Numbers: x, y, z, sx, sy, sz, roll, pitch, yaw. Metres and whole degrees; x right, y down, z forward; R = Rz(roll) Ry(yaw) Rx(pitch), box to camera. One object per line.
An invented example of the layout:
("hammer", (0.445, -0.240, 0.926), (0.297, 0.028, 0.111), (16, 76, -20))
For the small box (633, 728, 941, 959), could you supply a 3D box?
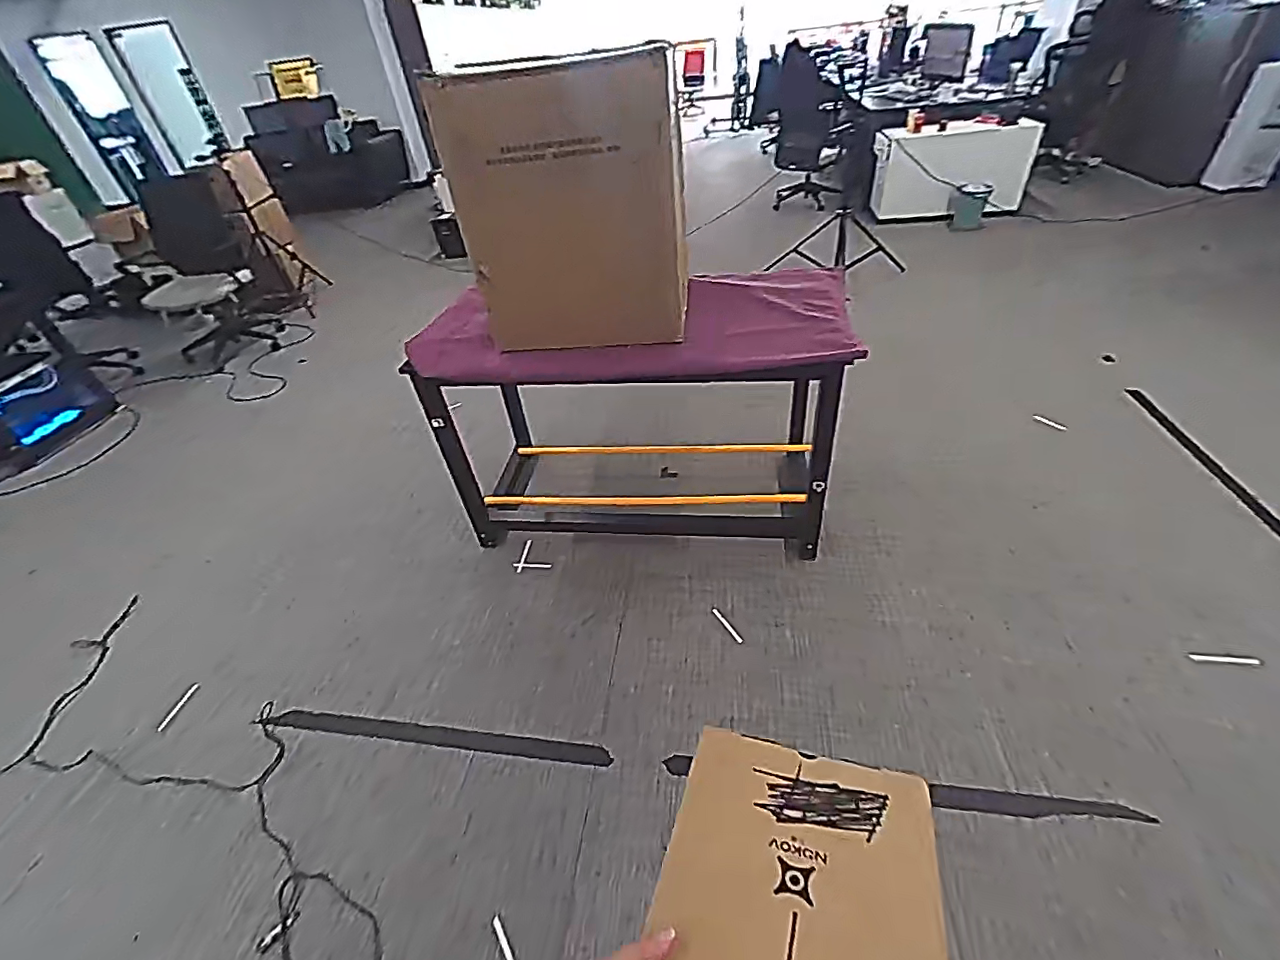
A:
("small box", (0.103, 0.319, 0.380), (0.168, 0.176, 0.179), (5, 27, 19))
